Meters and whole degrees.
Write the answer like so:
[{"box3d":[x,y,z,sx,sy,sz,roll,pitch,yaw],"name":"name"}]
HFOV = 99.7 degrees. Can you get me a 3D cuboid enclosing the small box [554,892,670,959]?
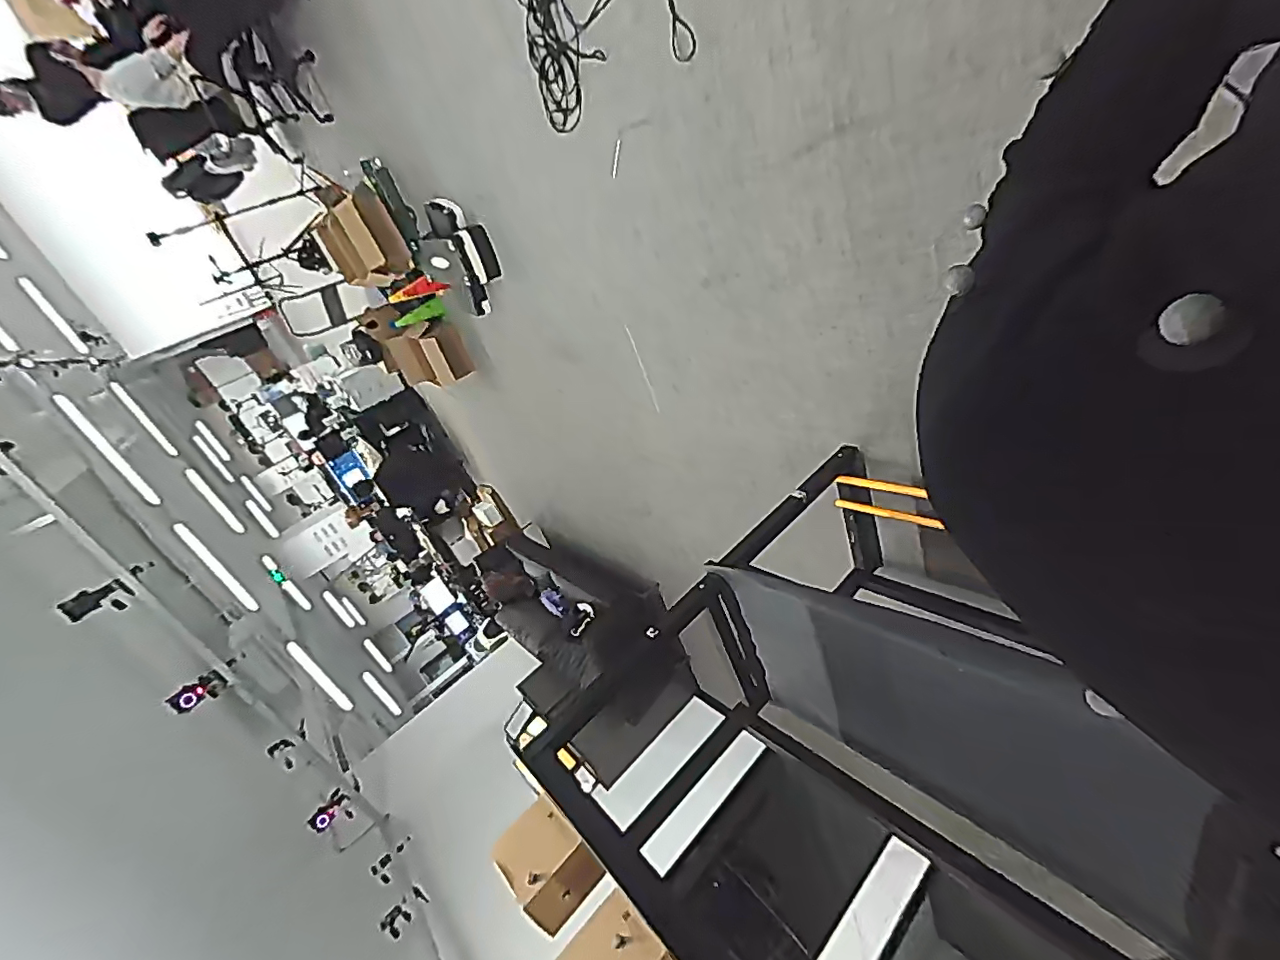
[{"box3d":[-0.028,0.919,0.987,0.168,0.176,0.179,9,130,54],"name":"small box"}]
